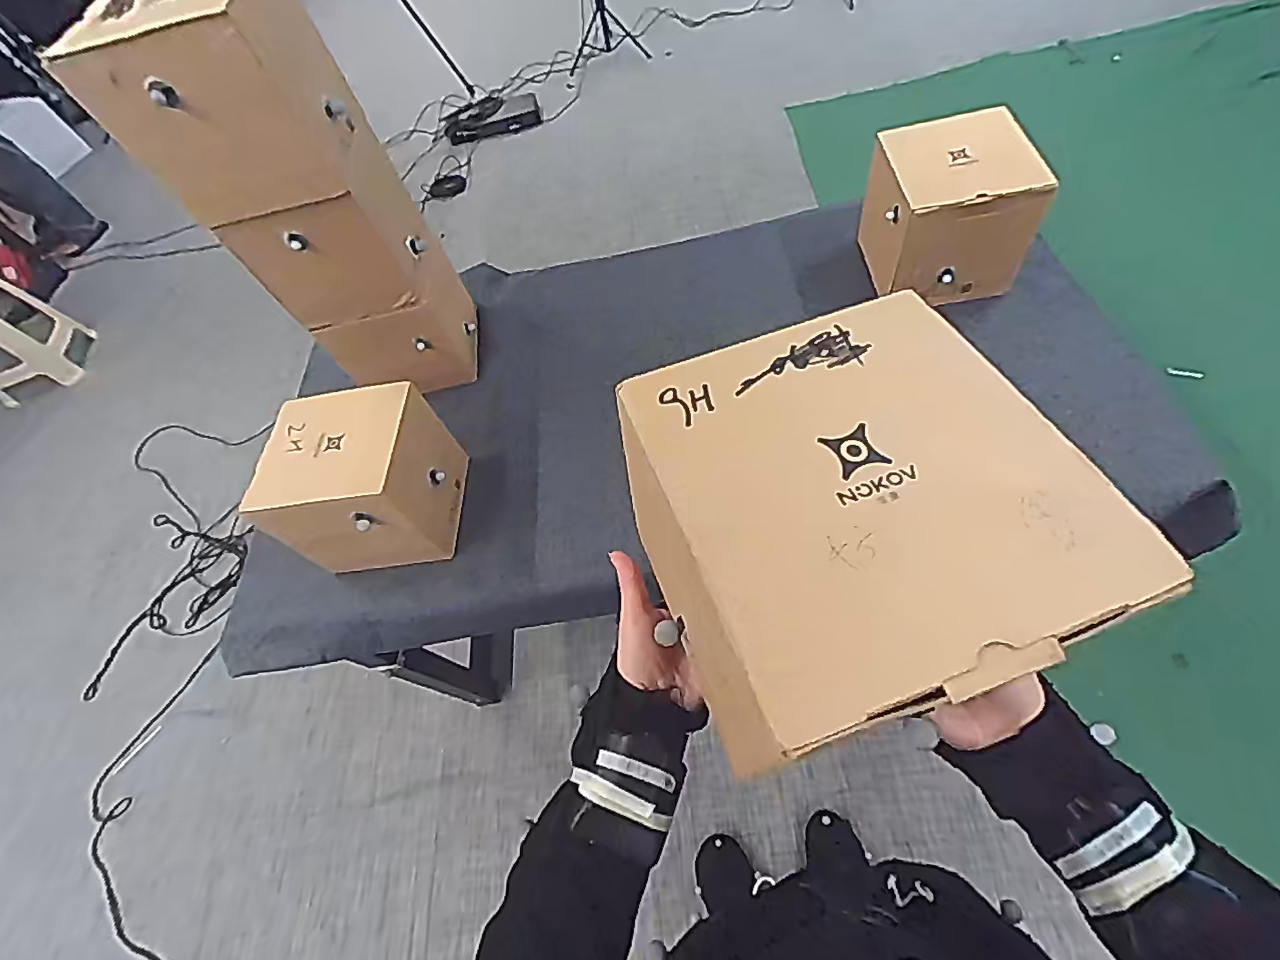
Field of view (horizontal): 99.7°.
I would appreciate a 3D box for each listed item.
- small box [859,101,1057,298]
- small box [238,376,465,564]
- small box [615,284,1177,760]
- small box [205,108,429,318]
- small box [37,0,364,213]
[{"bbox_3d":[0.417,-0.377,0.749,0.168,0.176,0.179,-7,61,8],"label":"small box"},{"bbox_3d":[-0.345,-0.006,0.690,0.179,0.176,0.168,-8,57,7],"label":"small box"},{"bbox_3d":[0.098,0.034,0.296,0.168,0.176,0.179,-19,60,-7],"label":"small box"},{"bbox_3d":[-0.402,-0.338,0.707,0.179,0.176,0.168,-12,61,3],"label":"small box"},{"bbox_3d":[-0.426,-0.409,0.560,0.179,0.176,0.168,-10,61,4],"label":"small box"}]
